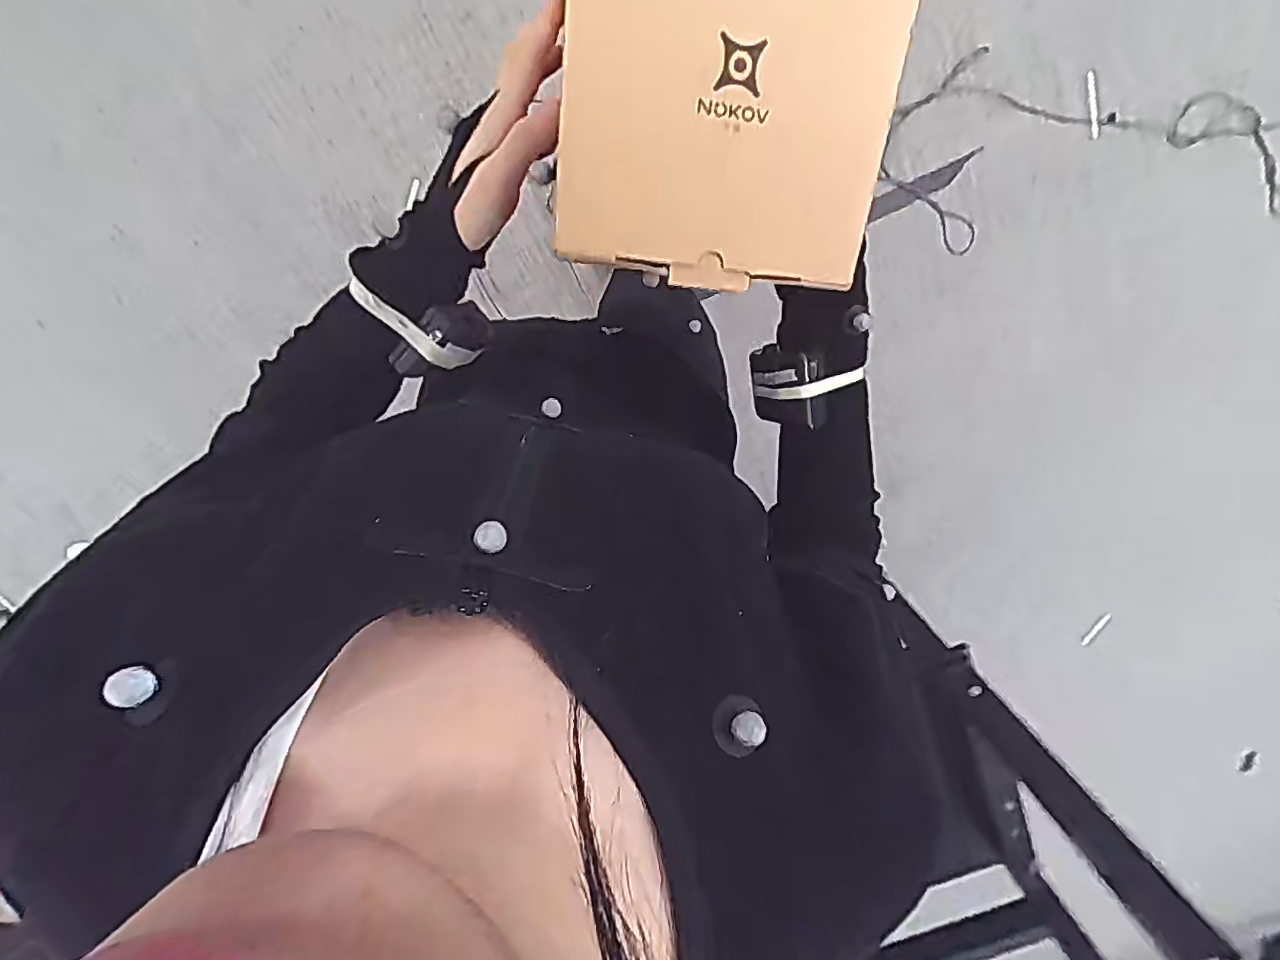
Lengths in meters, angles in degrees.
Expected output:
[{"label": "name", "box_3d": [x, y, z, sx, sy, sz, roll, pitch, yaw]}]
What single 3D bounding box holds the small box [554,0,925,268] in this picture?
[{"label": "small box", "box_3d": [0.037, -0.228, 0.322, 0.168, 0.176, 0.179, 2, 111, -10]}]
